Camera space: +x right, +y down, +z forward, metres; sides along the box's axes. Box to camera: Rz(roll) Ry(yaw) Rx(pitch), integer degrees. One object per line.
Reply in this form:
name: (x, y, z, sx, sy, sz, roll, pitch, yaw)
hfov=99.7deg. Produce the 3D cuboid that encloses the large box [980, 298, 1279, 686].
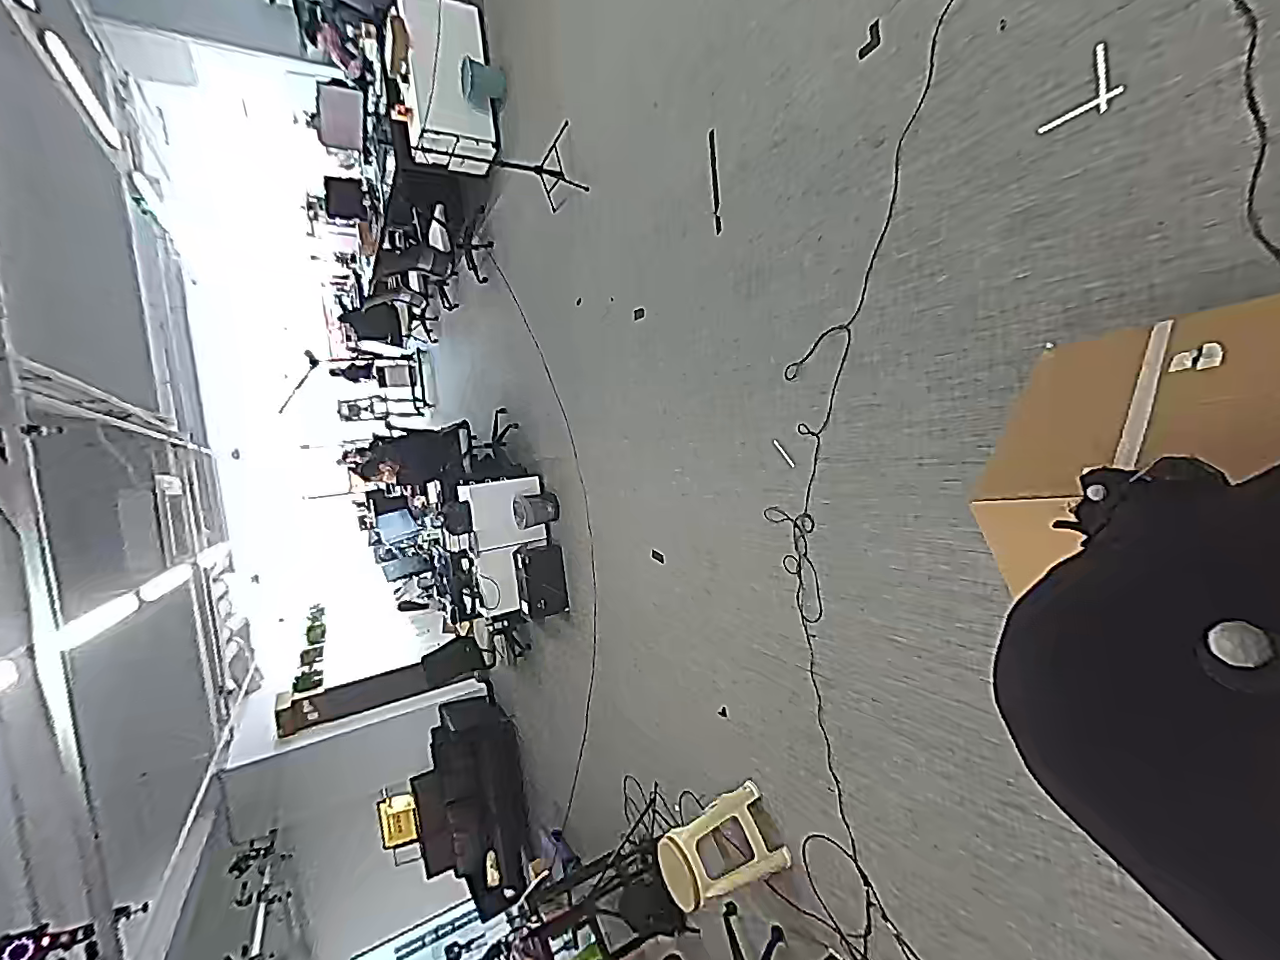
large box: (0.742, 0.013, 0.744, 0.320, 0.408, 0.320, -7, 122, 55)
